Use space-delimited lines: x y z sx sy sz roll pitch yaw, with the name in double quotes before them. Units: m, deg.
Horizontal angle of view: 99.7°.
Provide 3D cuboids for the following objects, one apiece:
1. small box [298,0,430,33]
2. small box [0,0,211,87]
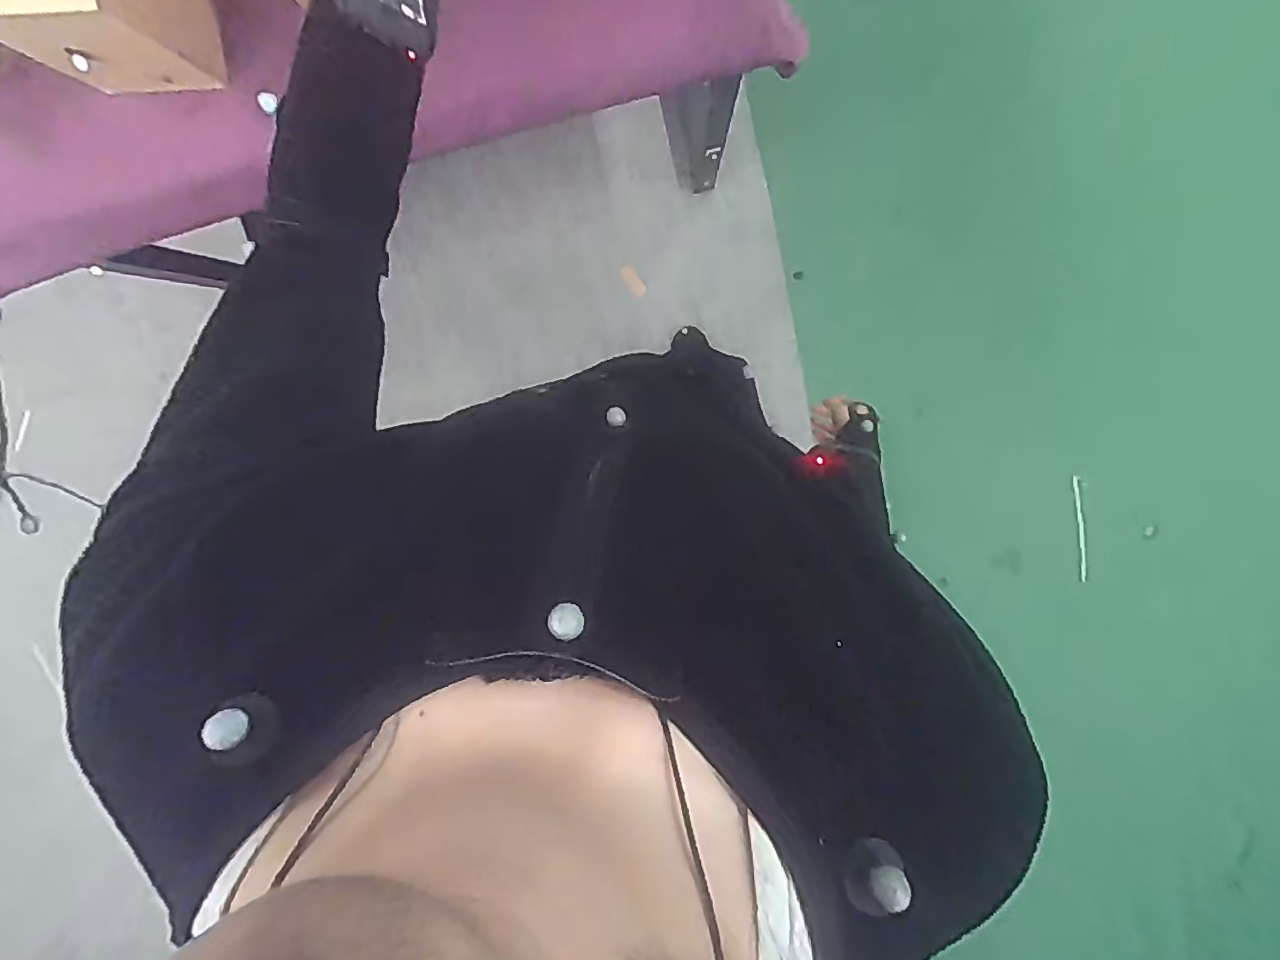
"small box" -0.336 -0.631 0.563 0.168 0.176 0.179 -17 101 6
"small box" -0.616 -0.560 0.590 0.168 0.176 0.179 0 101 3
